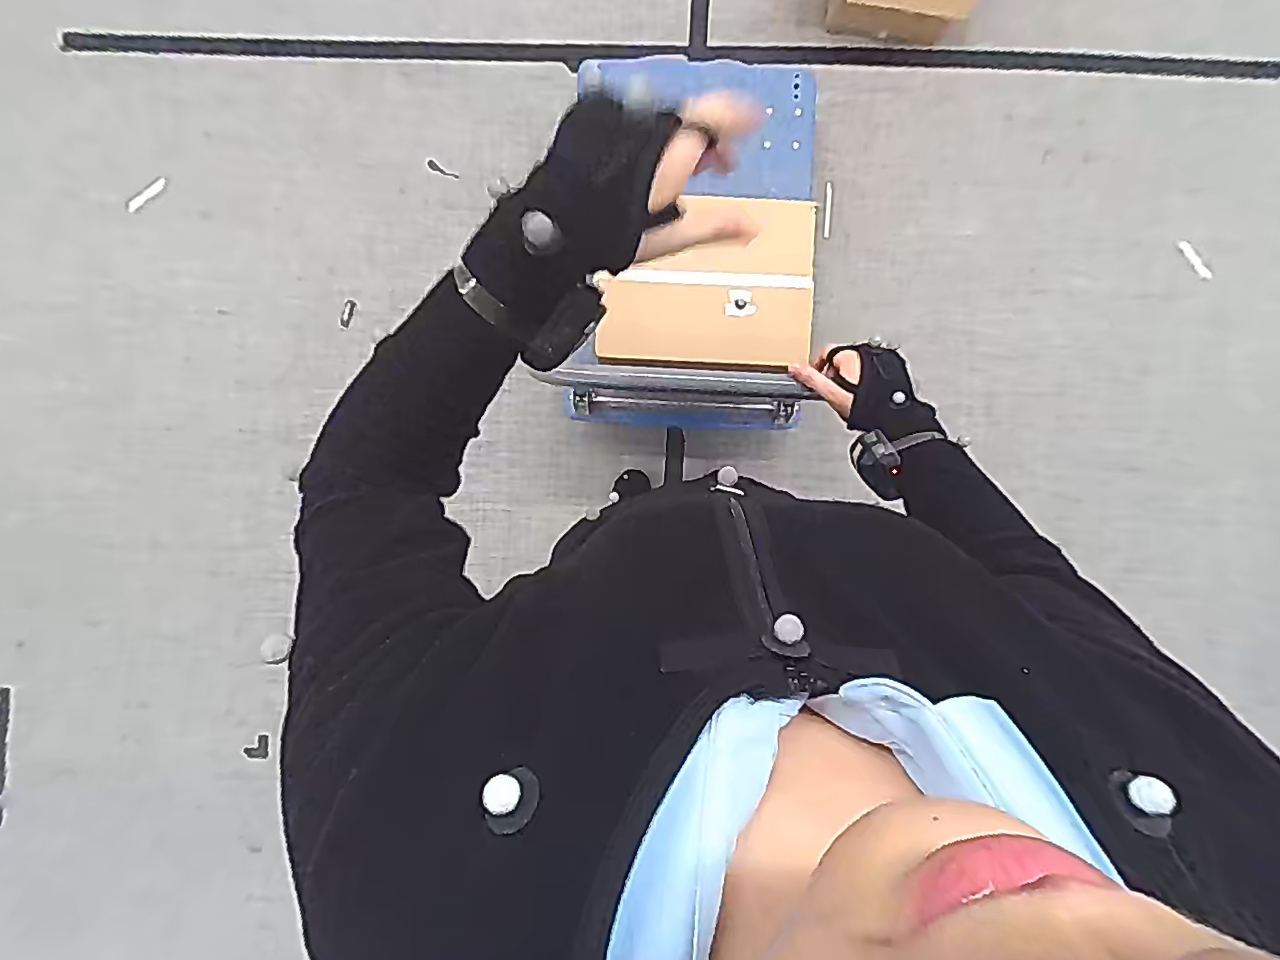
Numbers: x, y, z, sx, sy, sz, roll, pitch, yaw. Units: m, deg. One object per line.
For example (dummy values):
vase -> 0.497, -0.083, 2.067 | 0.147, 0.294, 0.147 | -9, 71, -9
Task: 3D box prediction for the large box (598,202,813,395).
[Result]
large box -> 0.119, -0.363, 1.165 | 0.408, 0.320, 0.320 | 3, 91, -1
